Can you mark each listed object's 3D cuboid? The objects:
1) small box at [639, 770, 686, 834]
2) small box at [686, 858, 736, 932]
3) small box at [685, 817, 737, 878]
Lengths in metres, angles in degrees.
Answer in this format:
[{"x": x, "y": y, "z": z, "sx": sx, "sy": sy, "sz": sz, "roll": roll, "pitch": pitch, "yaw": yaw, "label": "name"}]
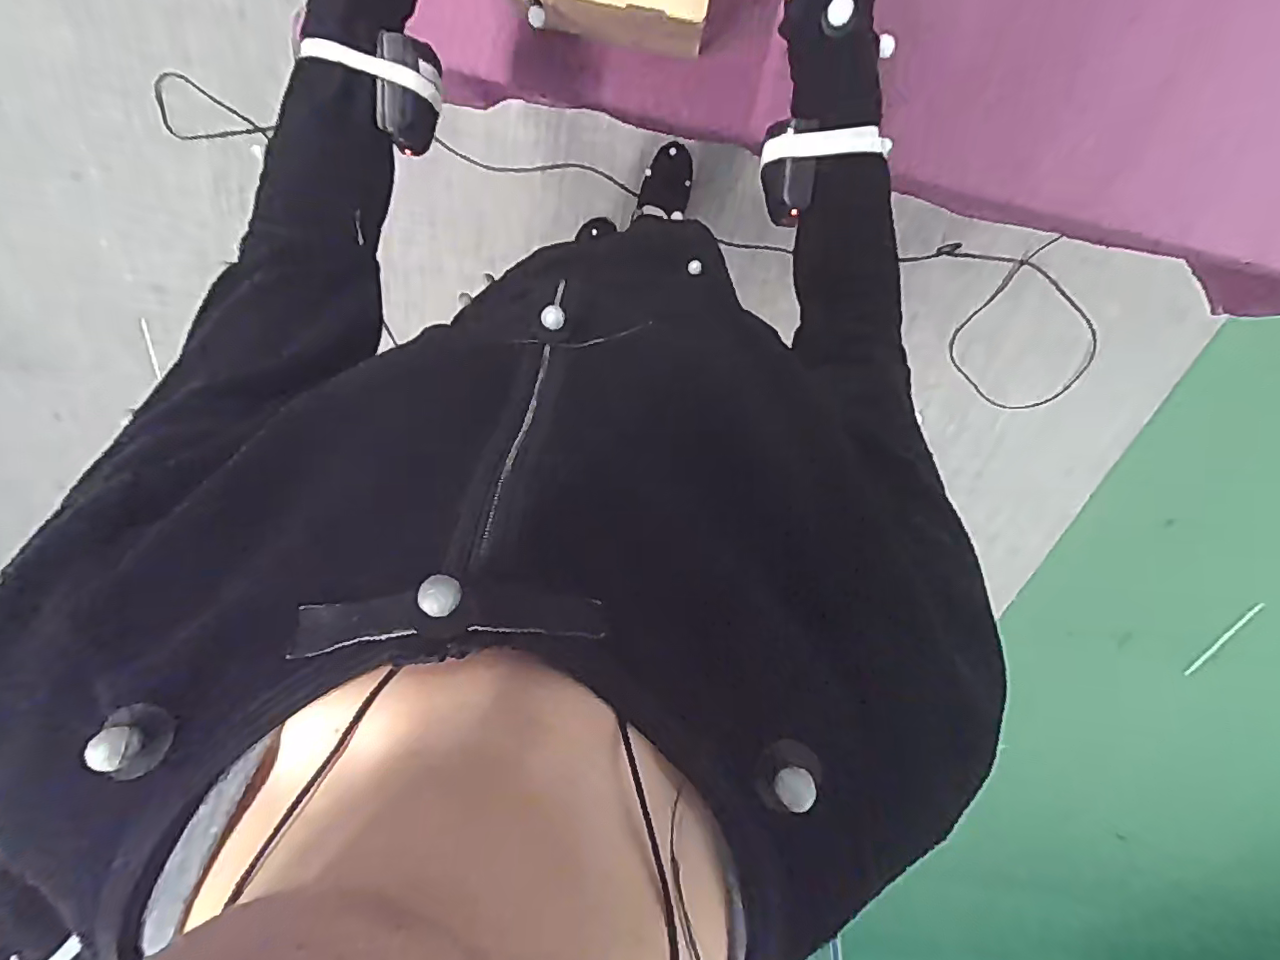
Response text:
[{"x": 0.099, "y": 1.396, "z": 2.348, "sx": 0.168, "sy": 0.176, "sz": 0.179, "roll": 12, "pitch": 121, "yaw": -6, "label": "small box"}, {"x": 0.265, "y": 1.582, "z": 2.066, "sx": 0.168, "sy": 0.176, "sz": 0.179, "roll": 7, "pitch": 120, "yaw": 1, "label": "small box"}, {"x": 0.285, "y": 1.513, "z": 2.213, "sx": 0.179, "sy": 0.176, "sz": 0.168, "roll": 10, "pitch": 120, "yaw": -1, "label": "small box"}]
